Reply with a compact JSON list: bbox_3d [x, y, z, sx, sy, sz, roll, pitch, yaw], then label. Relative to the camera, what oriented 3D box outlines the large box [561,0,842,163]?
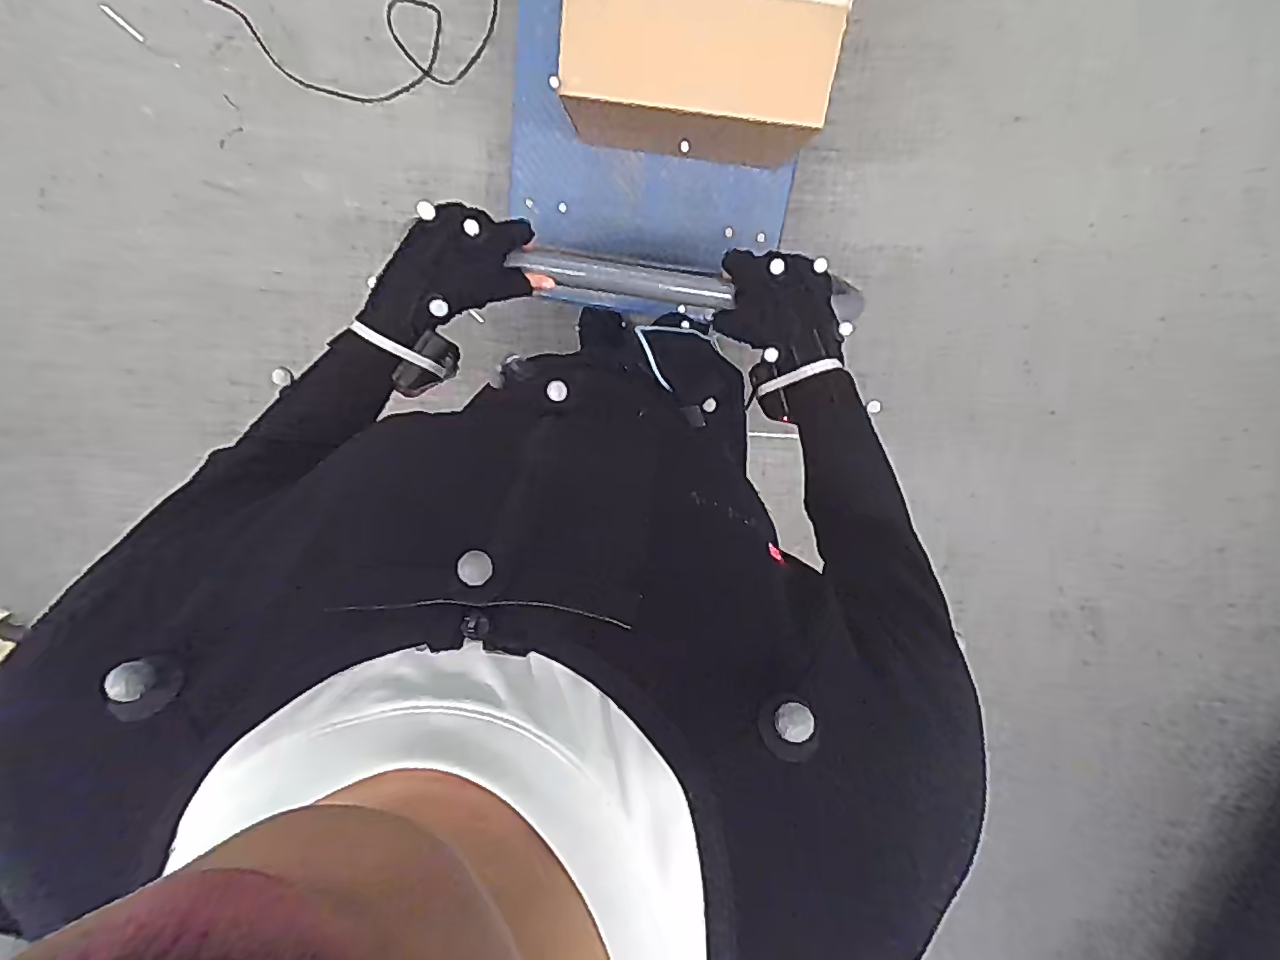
[{"bbox_3d":[0.100,-0.752,0.910,0.408,0.320,0.320,7,109,0],"label":"large box"}]
